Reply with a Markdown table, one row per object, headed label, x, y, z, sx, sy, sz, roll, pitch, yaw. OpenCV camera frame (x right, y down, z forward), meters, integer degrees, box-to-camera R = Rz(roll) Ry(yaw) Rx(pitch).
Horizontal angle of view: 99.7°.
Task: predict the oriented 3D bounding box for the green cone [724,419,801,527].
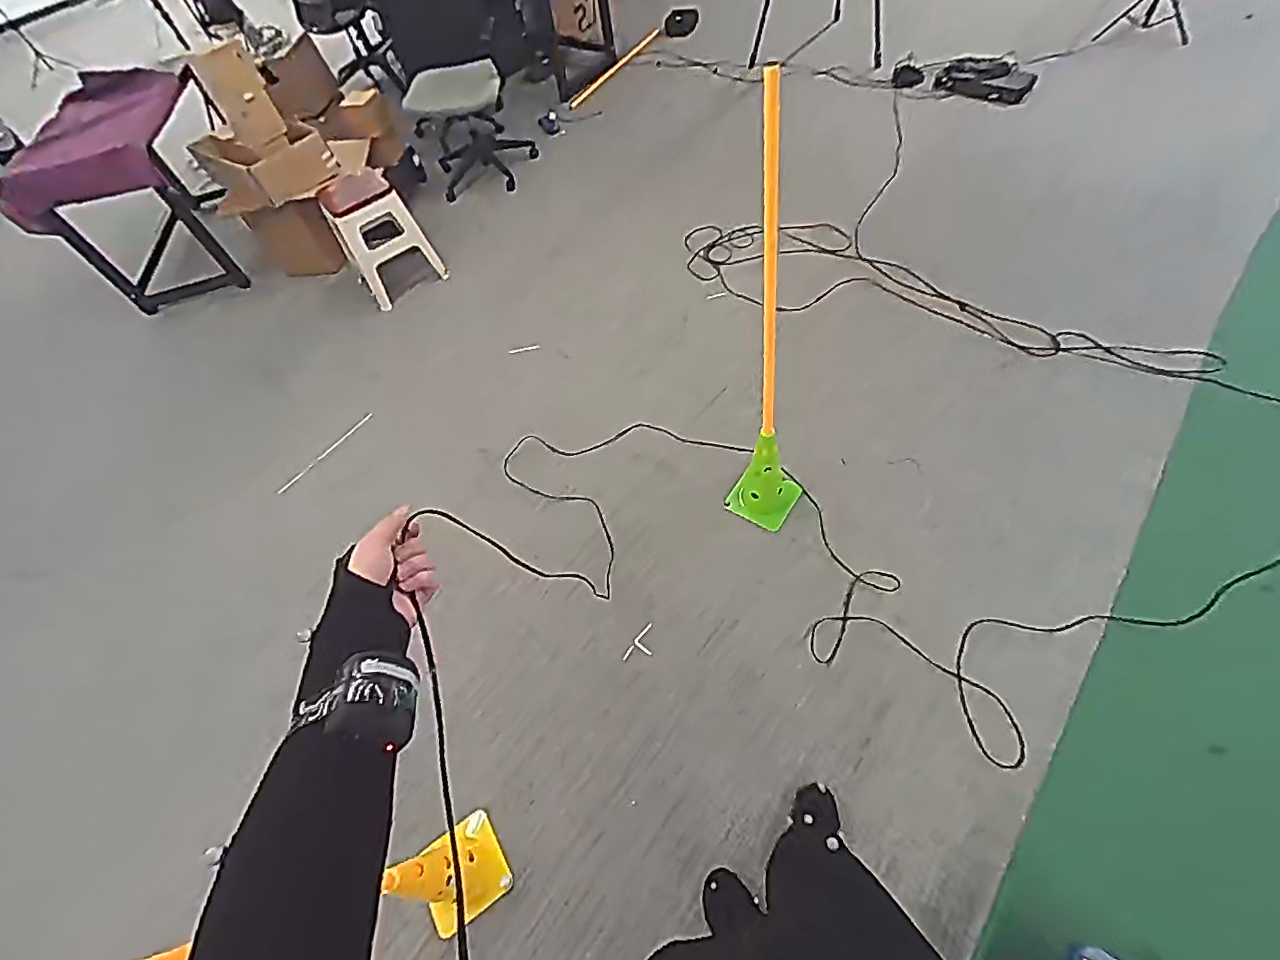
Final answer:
| label | x | y | z | sx | sy | sz | roll | pitch | yaw |
| --- | --- | --- | --- | --- | --- | --- | --- | --- | --- |
| green cone | 0.385 | -0.050 | 1.645 | 0.200 | 0.368 | 0.202 | 27 | 64 | 24 |
